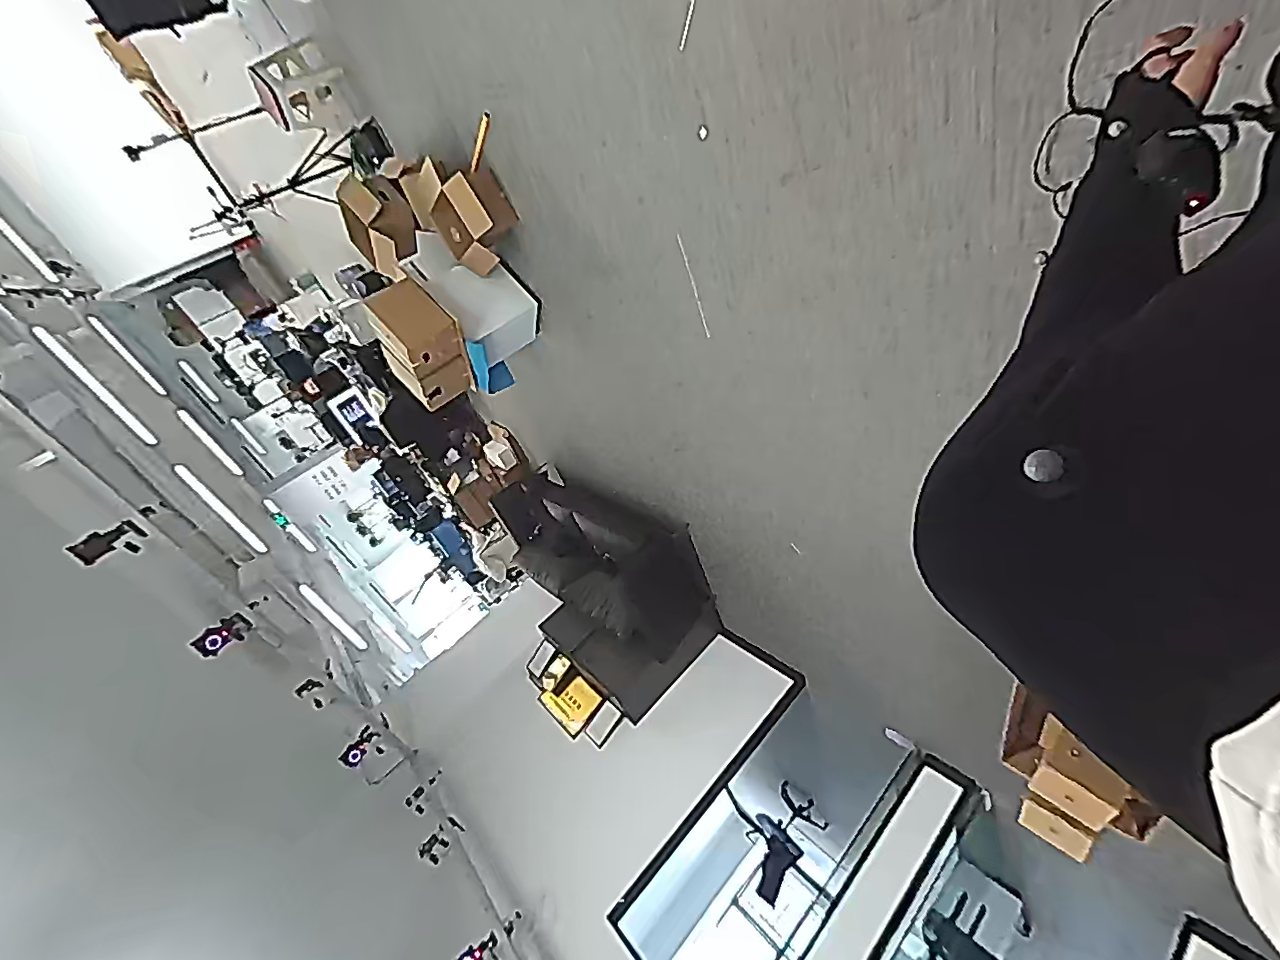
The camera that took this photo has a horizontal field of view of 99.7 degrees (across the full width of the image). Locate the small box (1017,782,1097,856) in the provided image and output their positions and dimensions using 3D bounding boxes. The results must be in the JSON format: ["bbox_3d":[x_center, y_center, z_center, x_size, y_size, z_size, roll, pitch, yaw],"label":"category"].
[{"bbox_3d":[1.256,0.955,1.605,0.168,0.176,0.179,24,144,46],"label":"small box"}]

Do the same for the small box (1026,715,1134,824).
[{"bbox_3d":[1.184,0.773,1.455,0.168,0.176,0.179,29,150,40],"label":"small box"}]
